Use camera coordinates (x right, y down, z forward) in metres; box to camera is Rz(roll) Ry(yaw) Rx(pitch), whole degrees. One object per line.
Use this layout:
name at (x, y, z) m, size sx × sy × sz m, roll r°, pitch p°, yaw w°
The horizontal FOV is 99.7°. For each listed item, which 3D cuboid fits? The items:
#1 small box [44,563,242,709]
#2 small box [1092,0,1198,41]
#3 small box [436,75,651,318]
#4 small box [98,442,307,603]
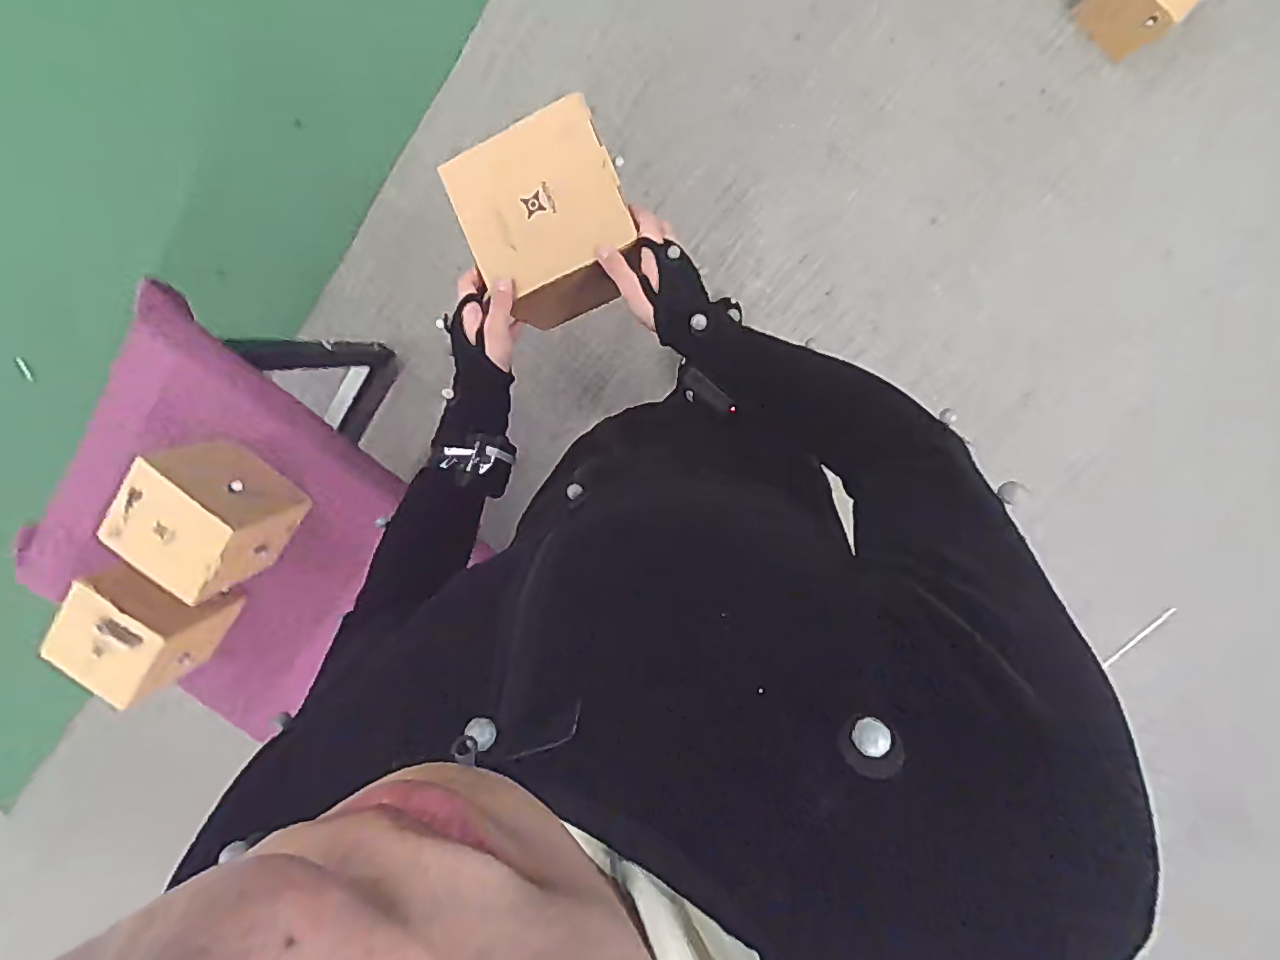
small box at (-0.847, 0.246, 0.941) m, size 0.168 × 0.176 × 0.179 m, roll 38°, pitch 105°, yaw -4°
small box at (1.120, -1.097, 1.148) m, size 0.179 × 0.176 × 0.168 m, roll 41°, pitch 104°, yaw -5°
small box at (-0.095, -0.309, 0.633) m, size 0.179 × 0.176 × 0.168 m, roll -21°, pitch 93°, yaw 11°
small box at (-0.693, 0.058, 0.878) m, size 0.179 × 0.176 × 0.168 m, roll 39°, pitch 105°, yaw -5°
